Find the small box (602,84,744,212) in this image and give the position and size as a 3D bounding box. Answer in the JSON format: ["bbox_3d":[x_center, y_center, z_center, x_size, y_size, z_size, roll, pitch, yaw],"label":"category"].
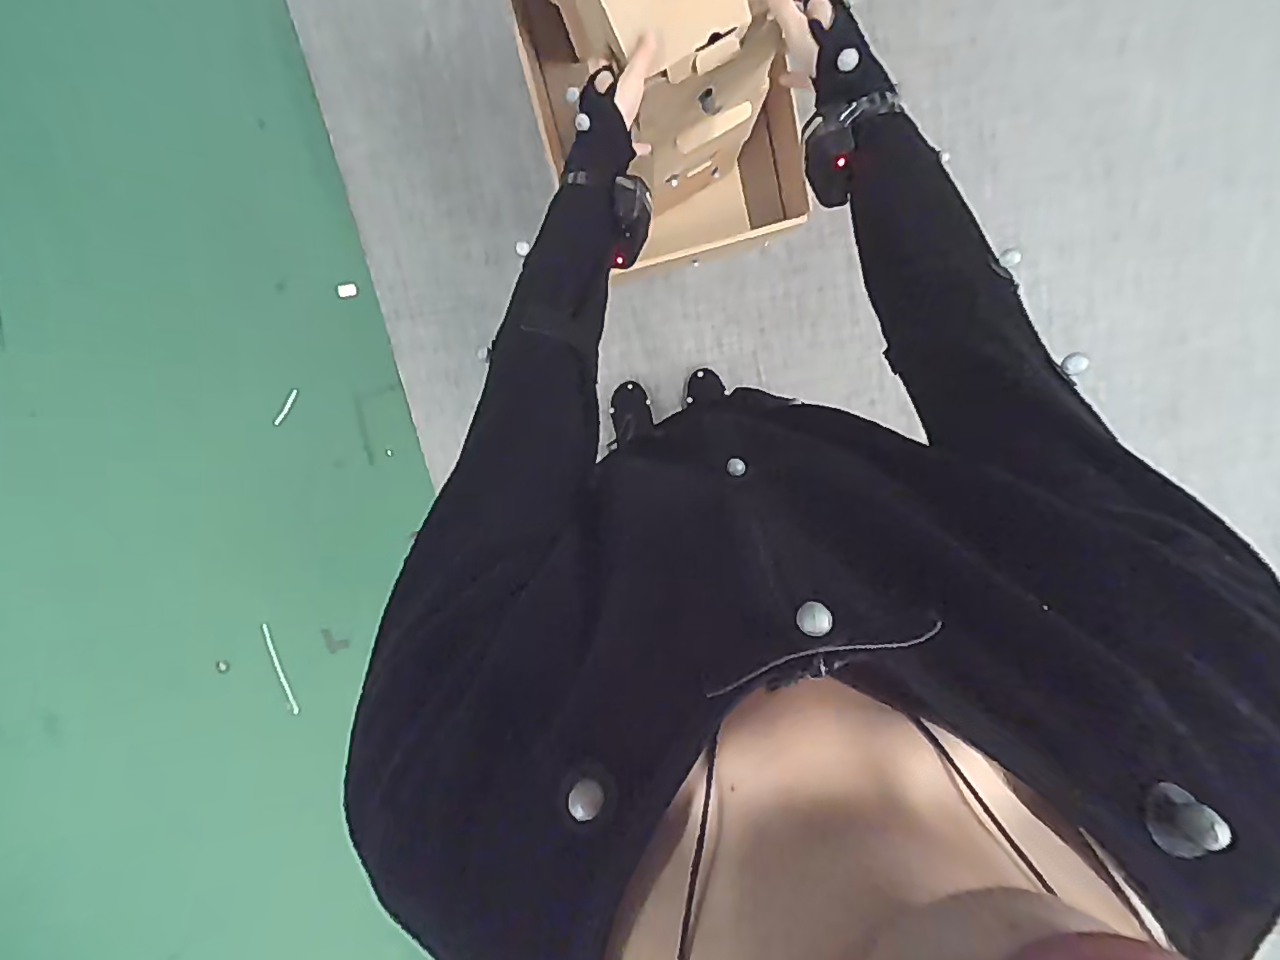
[{"bbox_3d":[0.055,-0.575,0.901,0.168,0.176,0.179,-26,99,7],"label":"small box"}]

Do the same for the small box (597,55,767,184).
[{"bbox_3d":[0.052,-0.539,0.742,0.168,0.176,0.179,-27,99,6],"label":"small box"}]

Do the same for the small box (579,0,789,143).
[{"bbox_3d":[0.037,-0.501,0.582,0.168,0.176,0.179,-25,100,6],"label":"small box"}]
